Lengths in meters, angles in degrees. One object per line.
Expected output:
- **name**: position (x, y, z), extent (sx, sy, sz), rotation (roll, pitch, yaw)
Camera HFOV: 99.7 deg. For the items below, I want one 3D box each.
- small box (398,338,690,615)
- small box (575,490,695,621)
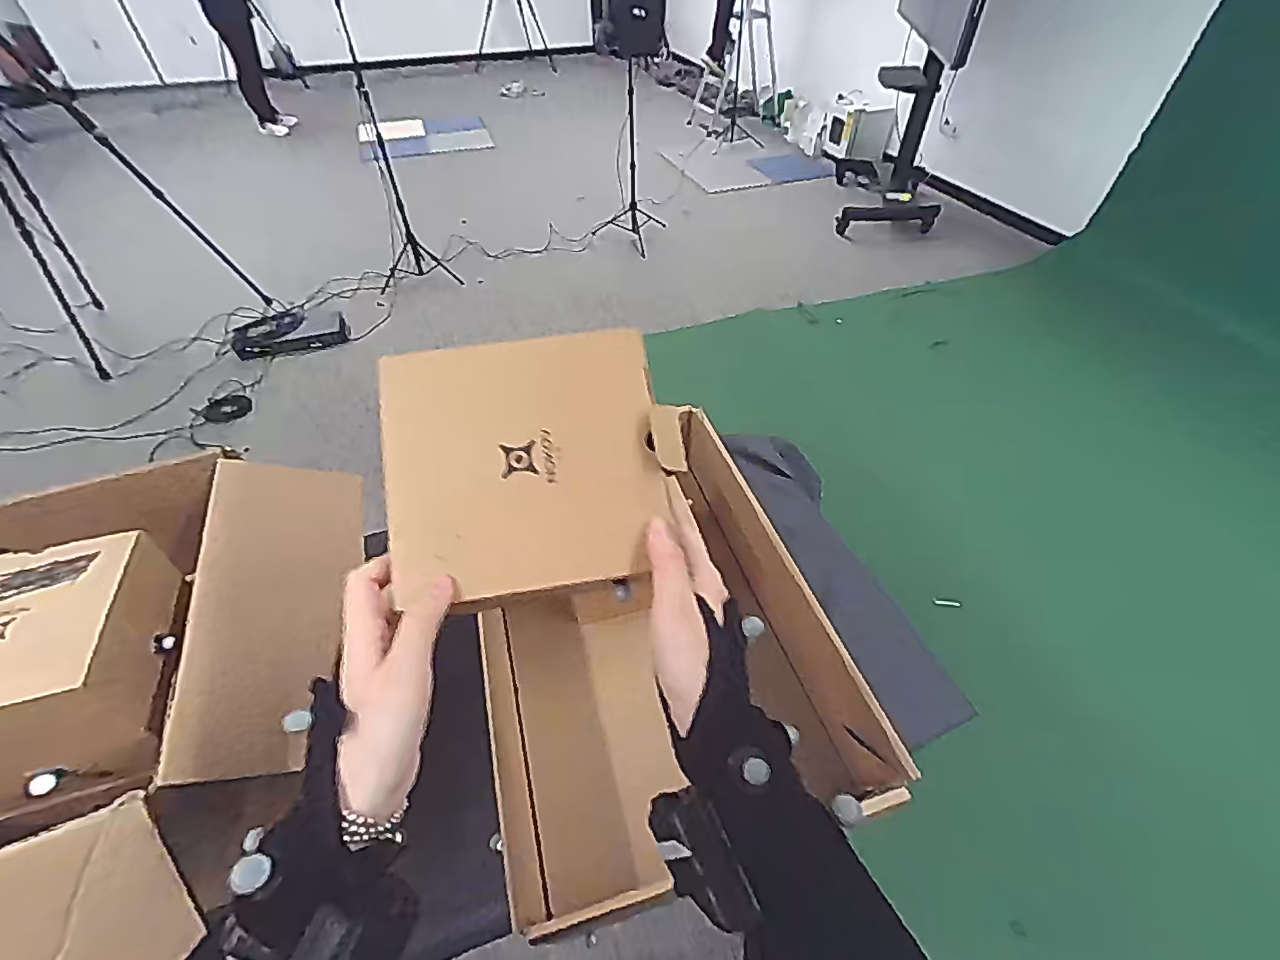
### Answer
- **small box**: position (-0.068, 0.011, 0.427), extent (0.179, 0.176, 0.168), rotation (-9, 77, -5)
- **small box**: position (-0.027, 0.084, 0.797), extent (0.179, 0.176, 0.168), rotation (-13, 50, -10)
